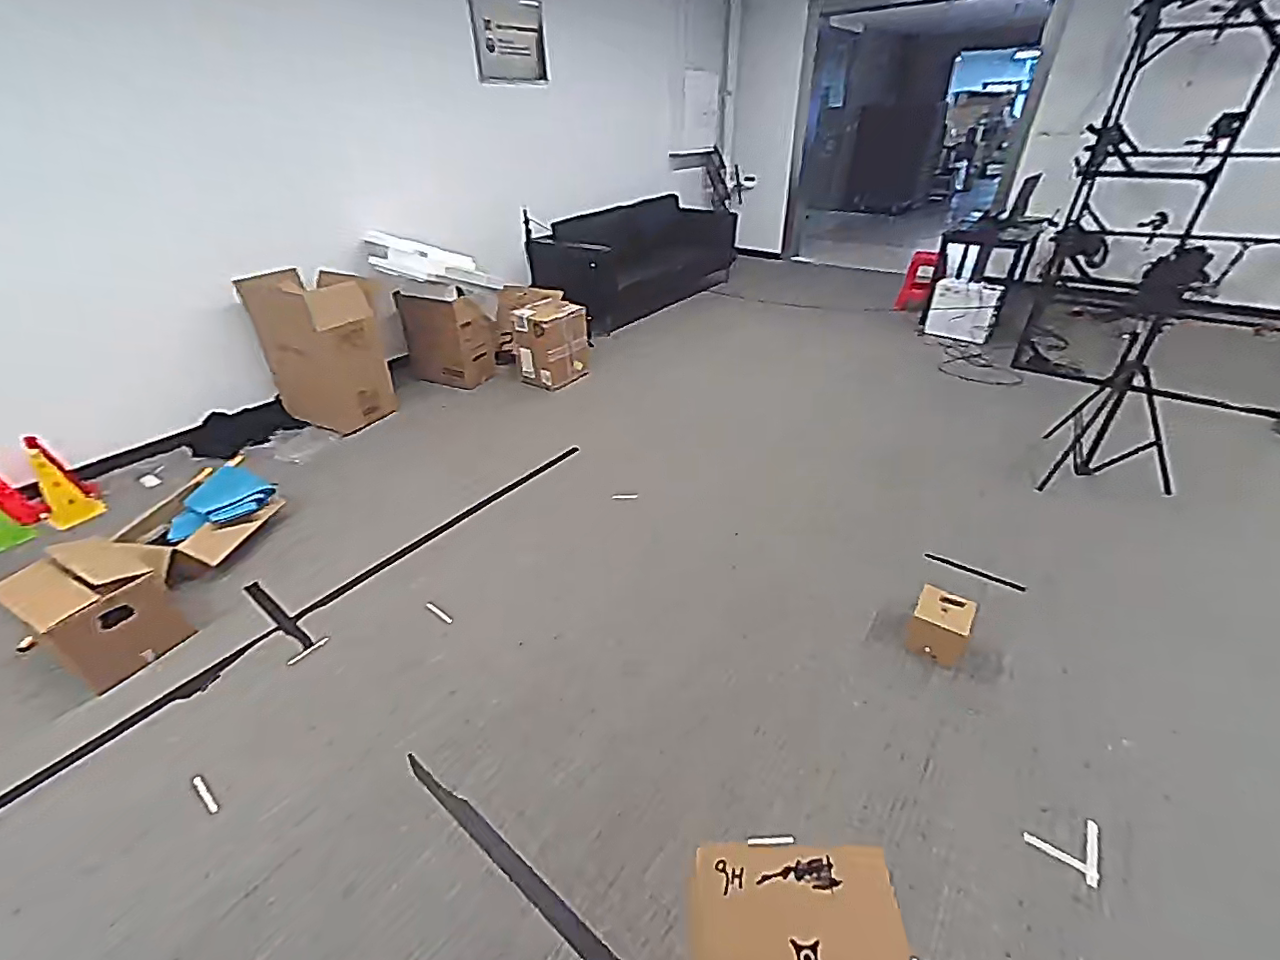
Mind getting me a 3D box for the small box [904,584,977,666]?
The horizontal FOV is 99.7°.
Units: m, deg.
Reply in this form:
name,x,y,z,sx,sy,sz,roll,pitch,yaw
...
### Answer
name,x,y,z,sx,sy,sz,roll,pitch,yaw
small box,1.025,0.495,1.851,0.168,0.176,0.179,21,41,30
